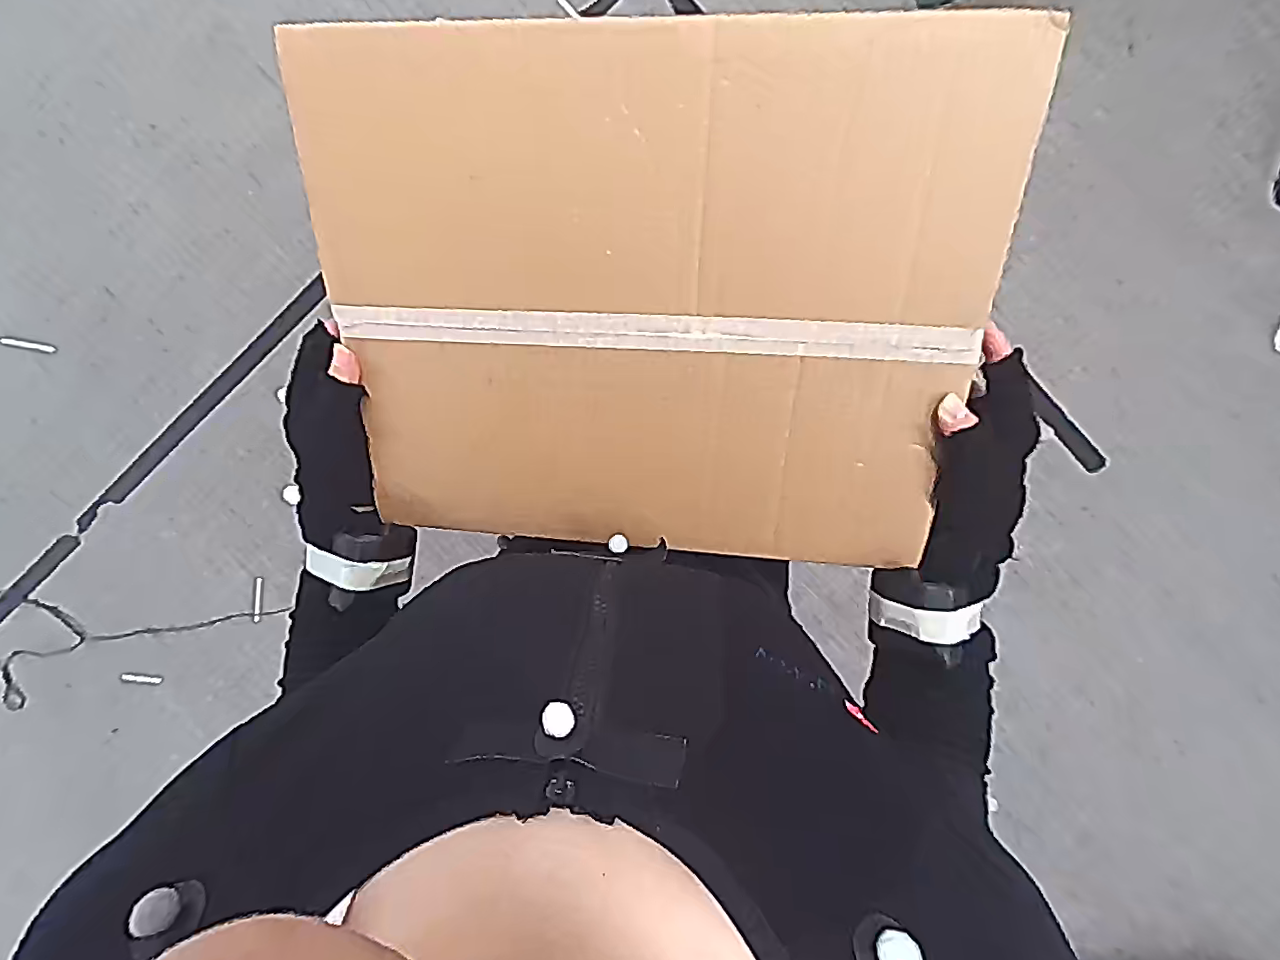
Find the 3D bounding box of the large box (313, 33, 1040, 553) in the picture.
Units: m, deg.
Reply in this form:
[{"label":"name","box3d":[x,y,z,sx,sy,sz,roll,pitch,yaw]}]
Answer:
[{"label":"large box","box3d":[0.020,-0.157,0.487,0.408,0.320,0.320,4,116,6]}]
